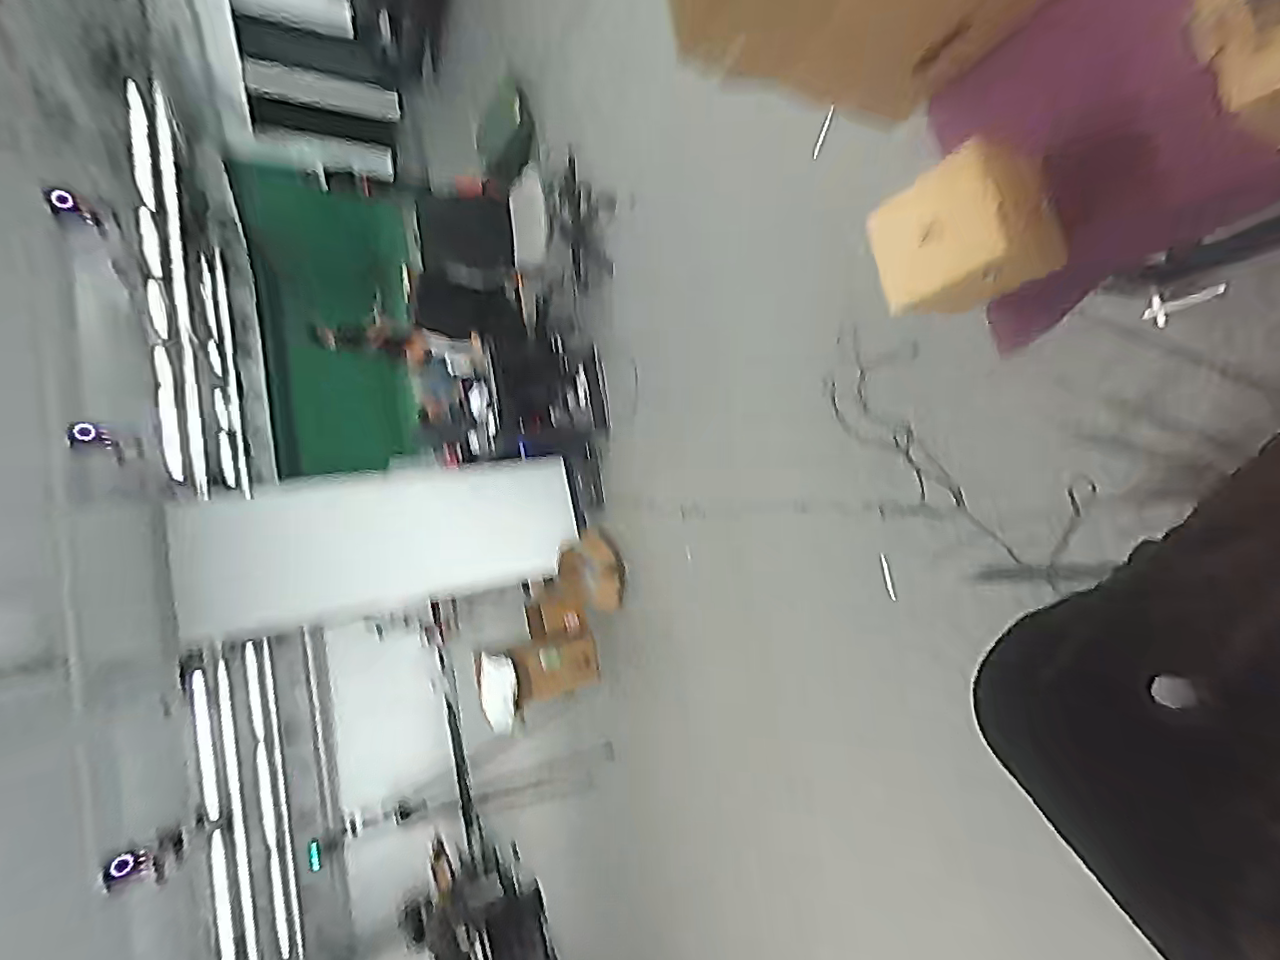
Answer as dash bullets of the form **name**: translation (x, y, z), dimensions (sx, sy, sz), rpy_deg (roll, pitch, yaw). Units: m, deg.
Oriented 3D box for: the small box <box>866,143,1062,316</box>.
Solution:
- **small box**: translation (0.486, -0.362, 0.821), dimensions (0.179, 0.176, 0.168), rpy_deg (-26, 74, 58)
